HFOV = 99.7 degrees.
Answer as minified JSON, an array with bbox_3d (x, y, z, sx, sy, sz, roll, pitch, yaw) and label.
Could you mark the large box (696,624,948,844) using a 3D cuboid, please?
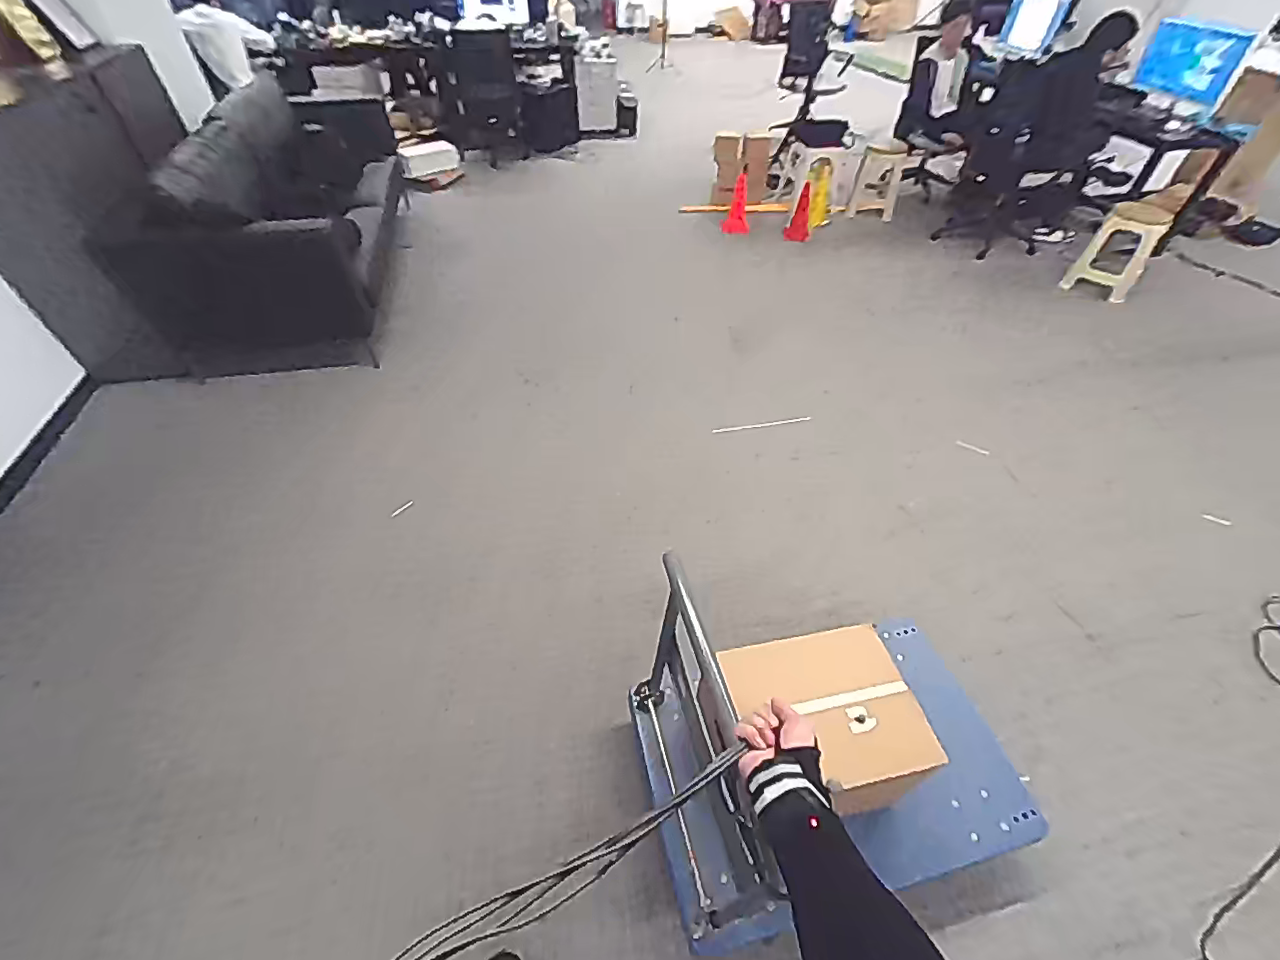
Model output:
[{"bbox_3d":[0.371,0.570,1.222,0.408,0.320,0.320,-7,47,-9],"label":"large box"}]
